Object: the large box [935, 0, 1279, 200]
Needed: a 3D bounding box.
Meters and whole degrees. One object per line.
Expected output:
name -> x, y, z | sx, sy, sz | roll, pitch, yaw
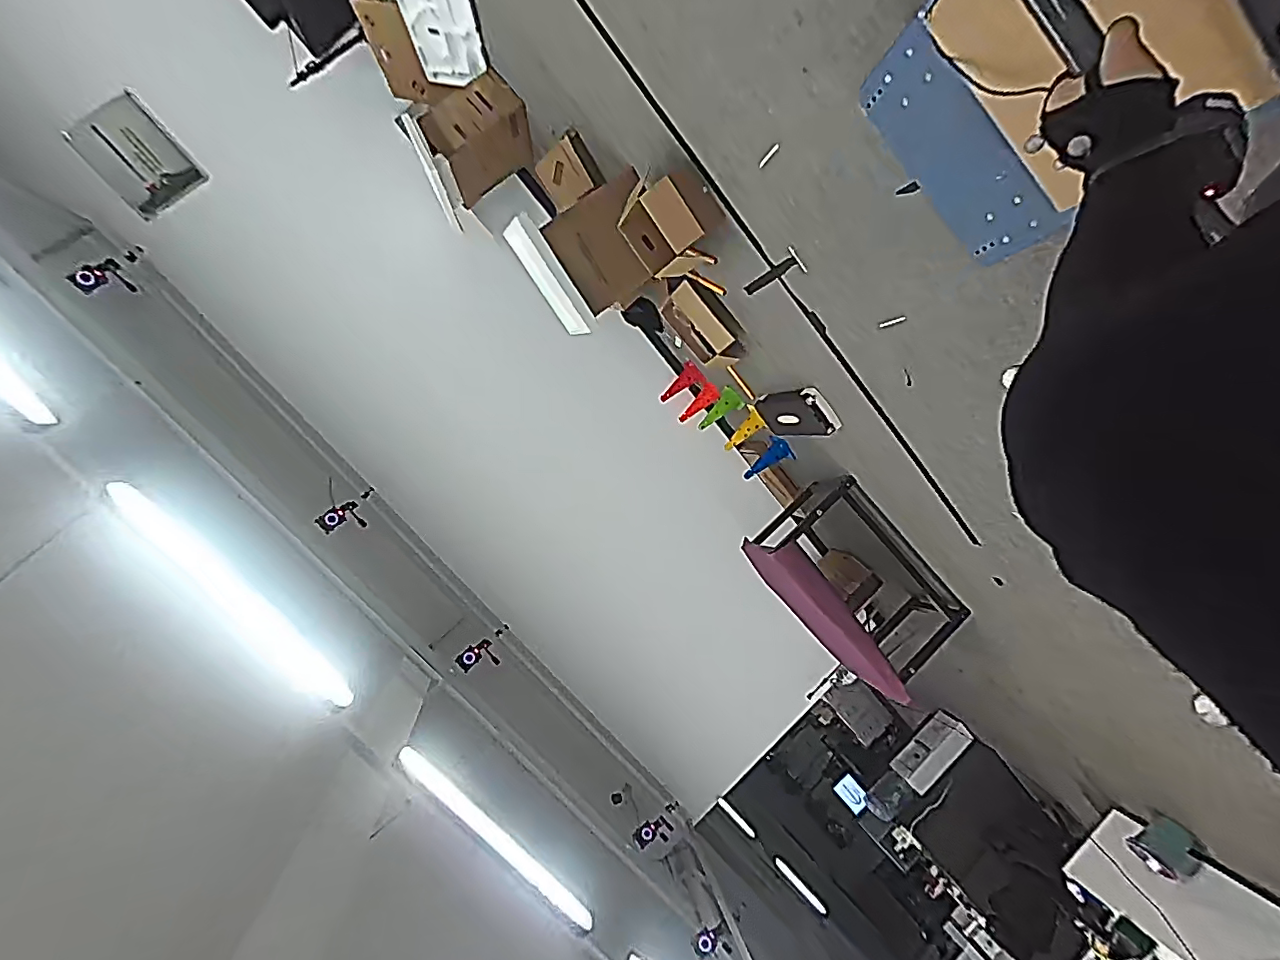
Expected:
large box -> 0.745, -0.721, 0.774 | 0.408, 0.320, 0.320 | 50, 172, -5
